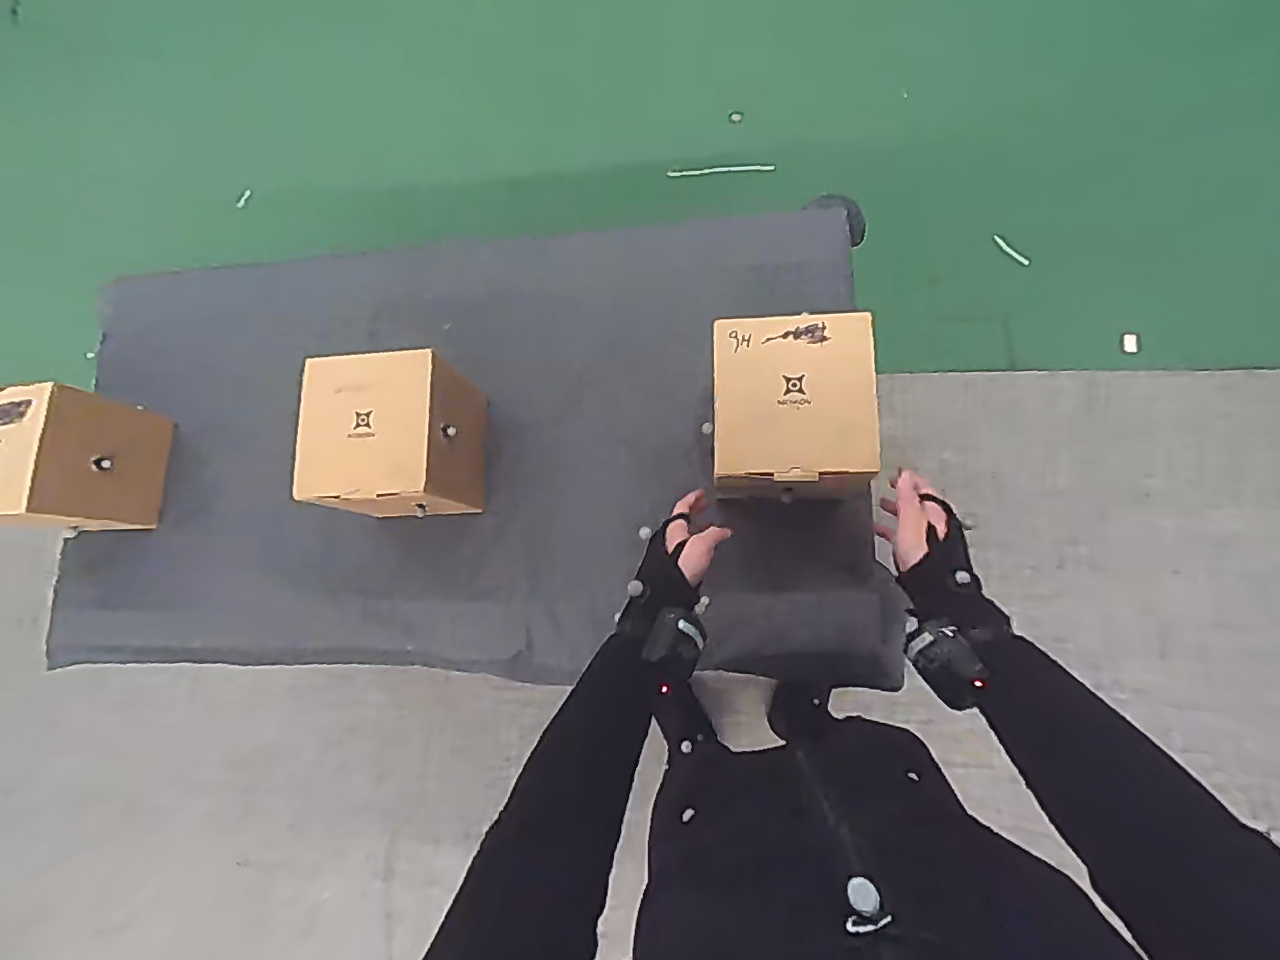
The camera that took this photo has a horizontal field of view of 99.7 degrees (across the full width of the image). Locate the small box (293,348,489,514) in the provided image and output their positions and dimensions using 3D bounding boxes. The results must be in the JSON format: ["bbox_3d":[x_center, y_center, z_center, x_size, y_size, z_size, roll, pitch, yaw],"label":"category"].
[{"bbox_3d":[-0.308,-0.050,0.703,0.168,0.176,0.179,-3,77,7],"label":"small box"}]

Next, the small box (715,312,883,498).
[{"bbox_3d":[0.174,-0.073,0.631,0.168,0.176,0.179,-1,80,9],"label":"small box"}]

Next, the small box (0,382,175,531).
[{"bbox_3d":[-0.820,-0.025,0.771,0.168,0.176,0.179,-2,78,8],"label":"small box"}]
